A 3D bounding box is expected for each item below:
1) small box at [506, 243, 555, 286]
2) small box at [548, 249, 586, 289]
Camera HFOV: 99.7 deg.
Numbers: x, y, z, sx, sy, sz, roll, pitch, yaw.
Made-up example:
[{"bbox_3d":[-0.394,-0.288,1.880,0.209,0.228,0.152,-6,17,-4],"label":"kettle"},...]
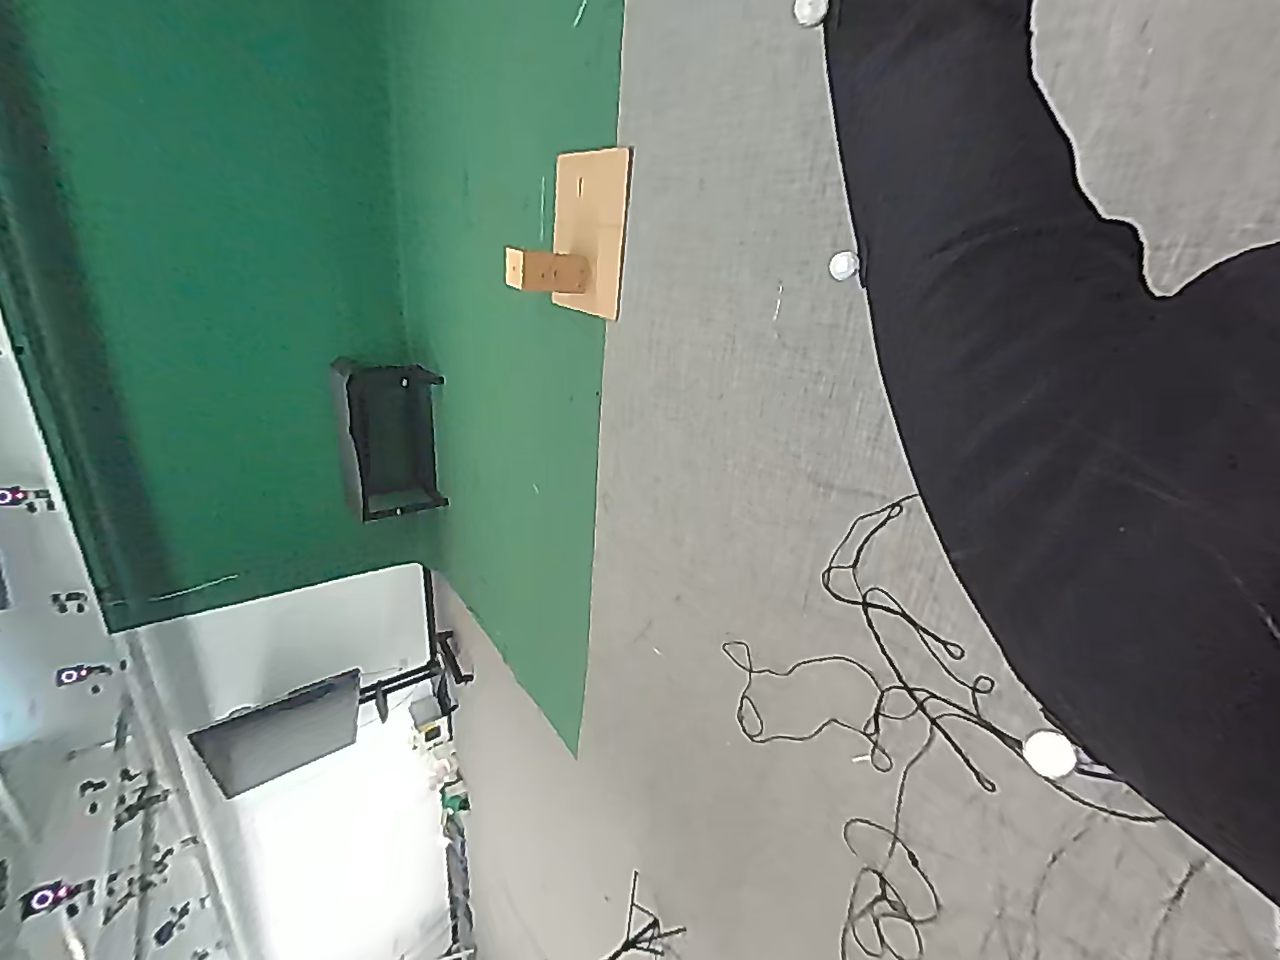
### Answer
[{"bbox_3d":[-0.512,-1.006,2.530,0.179,0.176,0.168,35,126,44],"label":"small box"},{"bbox_3d":[-0.376,-1.023,2.618,0.179,0.176,0.168,34,126,45],"label":"small box"}]
